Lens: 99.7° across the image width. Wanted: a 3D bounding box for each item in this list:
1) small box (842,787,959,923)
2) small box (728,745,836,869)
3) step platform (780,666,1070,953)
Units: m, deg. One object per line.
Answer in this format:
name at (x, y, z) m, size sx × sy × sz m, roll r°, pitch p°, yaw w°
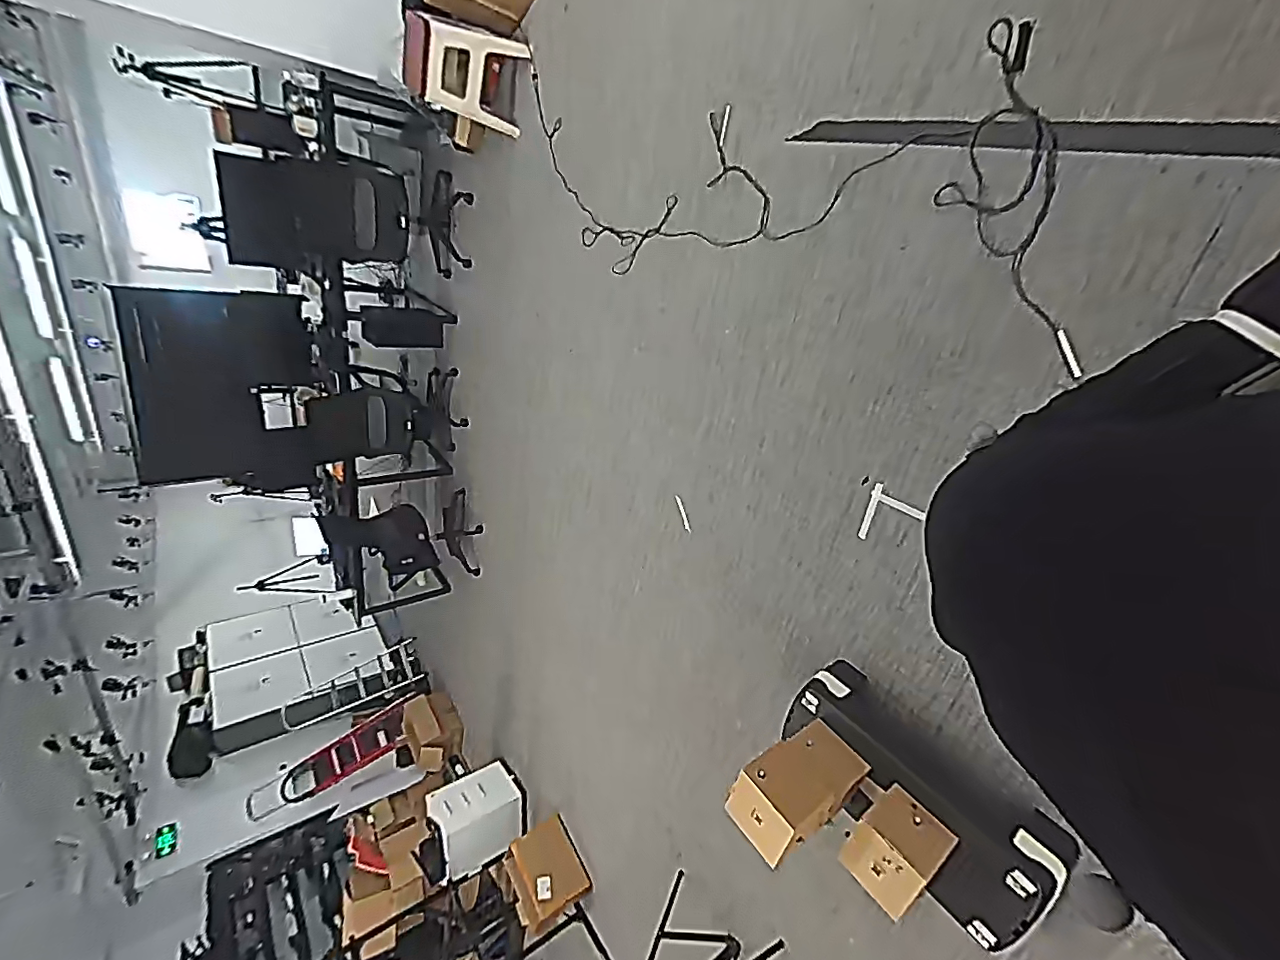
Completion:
small box at (0.623, 0.887, 1.292) m, size 0.168 × 0.176 × 0.179 m, roll 37°, pitch 126°, yaw 41°
small box at (0.355, 0.806, 1.351) m, size 0.179 × 0.176 × 0.168 m, roll 39°, pitch 128°, yaw 41°
step platform at (0.707, 0.842, 1.460) m, size 0.684 × 0.204 × 0.286 m, roll 35°, pitch 125°, yaw 42°
